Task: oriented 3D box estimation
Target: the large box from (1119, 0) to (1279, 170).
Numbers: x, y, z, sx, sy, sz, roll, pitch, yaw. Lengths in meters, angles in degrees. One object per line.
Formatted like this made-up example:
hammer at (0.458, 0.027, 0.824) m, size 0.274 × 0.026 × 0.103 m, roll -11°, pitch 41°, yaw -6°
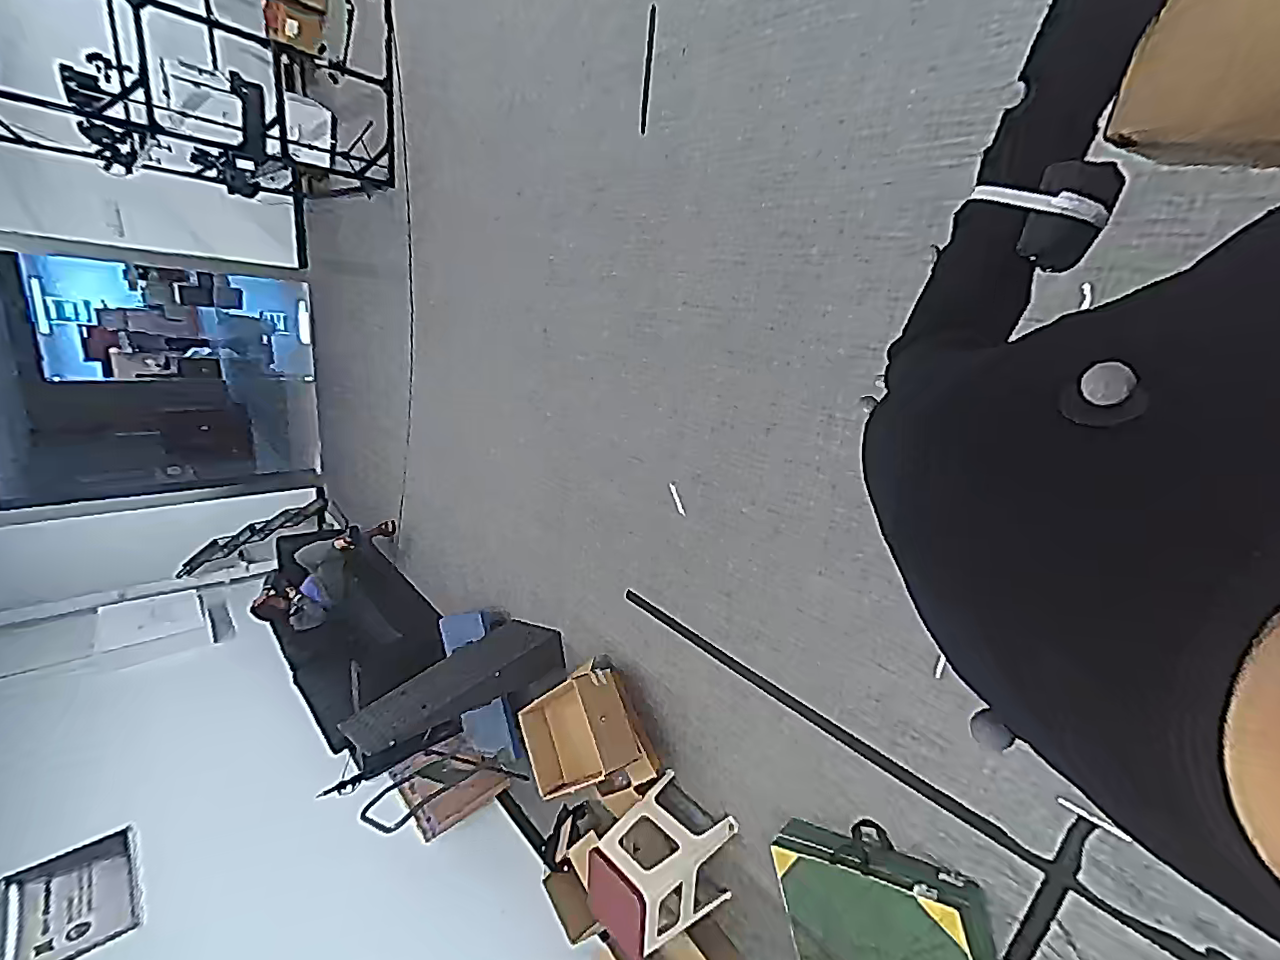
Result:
large box at (0.571, -0.342, 0.273) m, size 0.408 × 0.320 × 0.320 m, roll 27°, pitch 128°, yaw 37°
